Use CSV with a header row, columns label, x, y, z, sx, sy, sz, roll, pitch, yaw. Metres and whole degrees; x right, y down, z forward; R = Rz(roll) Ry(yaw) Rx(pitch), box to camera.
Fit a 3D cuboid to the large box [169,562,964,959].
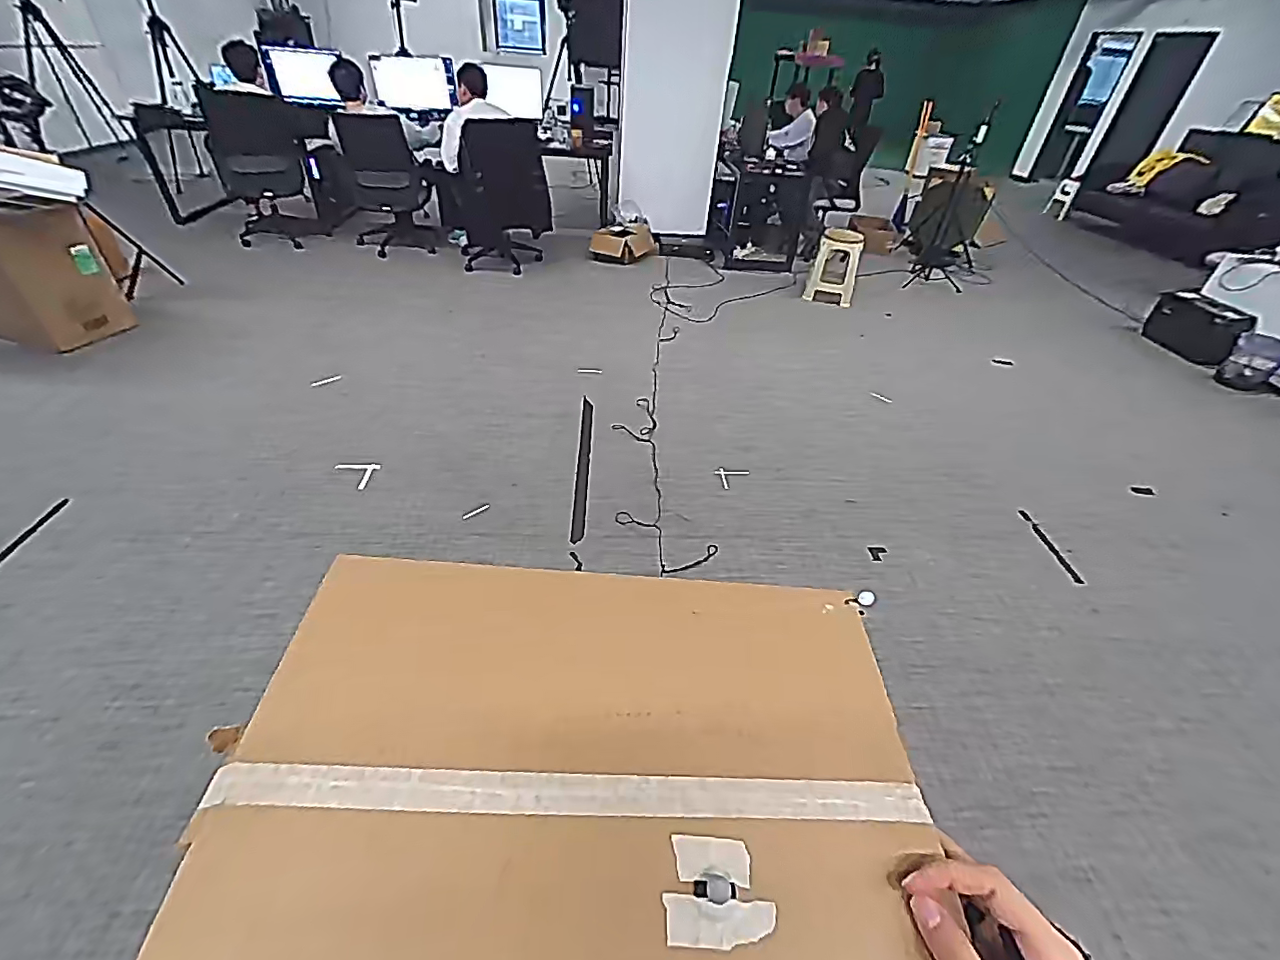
label,x,y,z,sx,sy,sz,roll,pitch,yaw
large box,-0.044,0.291,0.427,0.408,0.320,0.320,6,45,-6
